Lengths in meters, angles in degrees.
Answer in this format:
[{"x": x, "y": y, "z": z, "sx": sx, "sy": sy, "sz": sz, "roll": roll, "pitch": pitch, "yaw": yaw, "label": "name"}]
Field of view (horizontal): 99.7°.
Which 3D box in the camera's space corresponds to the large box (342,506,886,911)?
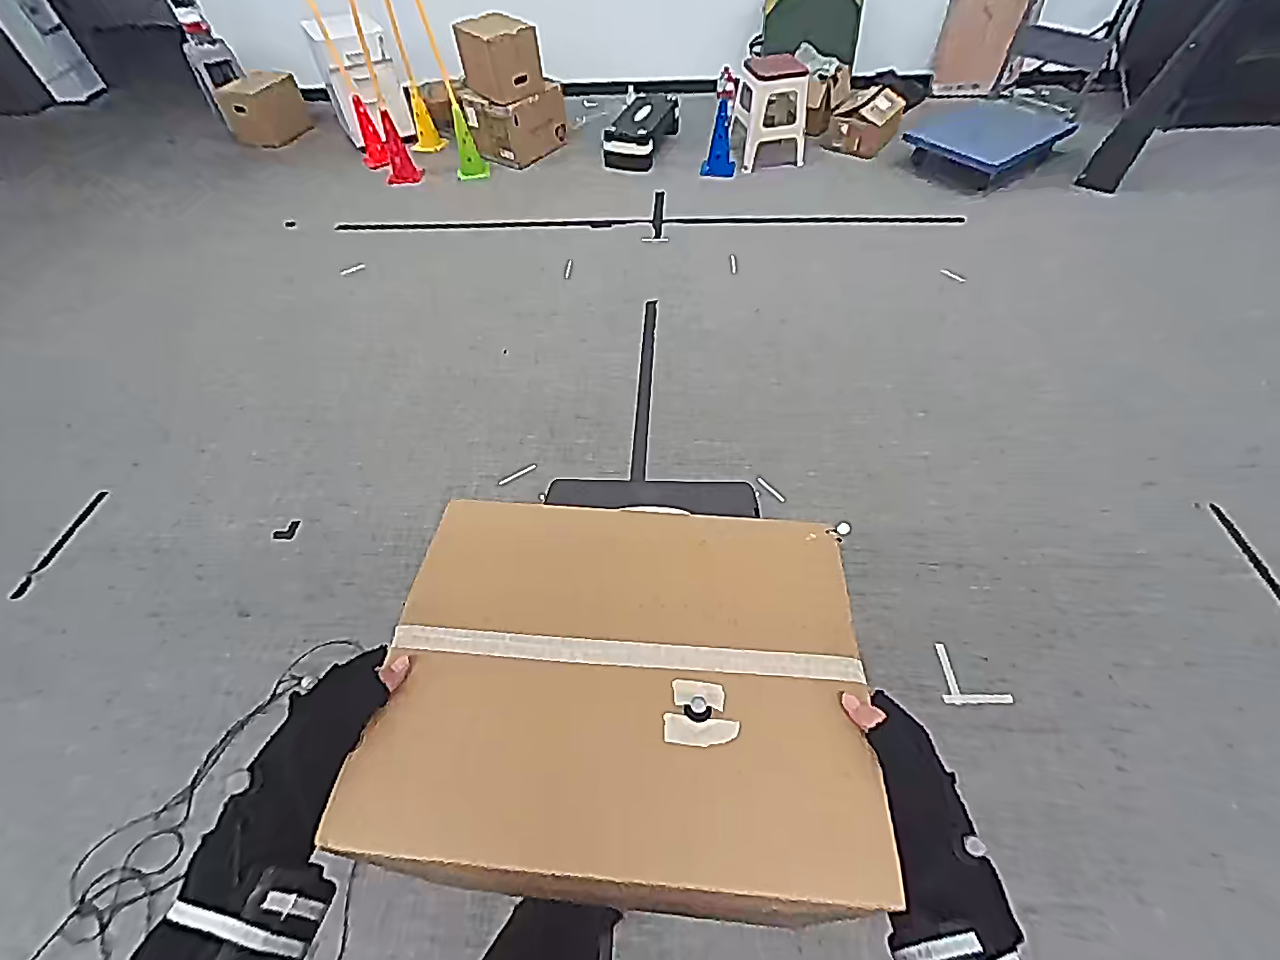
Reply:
[{"x": -0.014, "y": 0.251, "z": 0.595, "sx": 0.408, "sy": 0.320, "sz": 0.320, "roll": 4, "pitch": 49, "yaw": 4, "label": "large box"}]
